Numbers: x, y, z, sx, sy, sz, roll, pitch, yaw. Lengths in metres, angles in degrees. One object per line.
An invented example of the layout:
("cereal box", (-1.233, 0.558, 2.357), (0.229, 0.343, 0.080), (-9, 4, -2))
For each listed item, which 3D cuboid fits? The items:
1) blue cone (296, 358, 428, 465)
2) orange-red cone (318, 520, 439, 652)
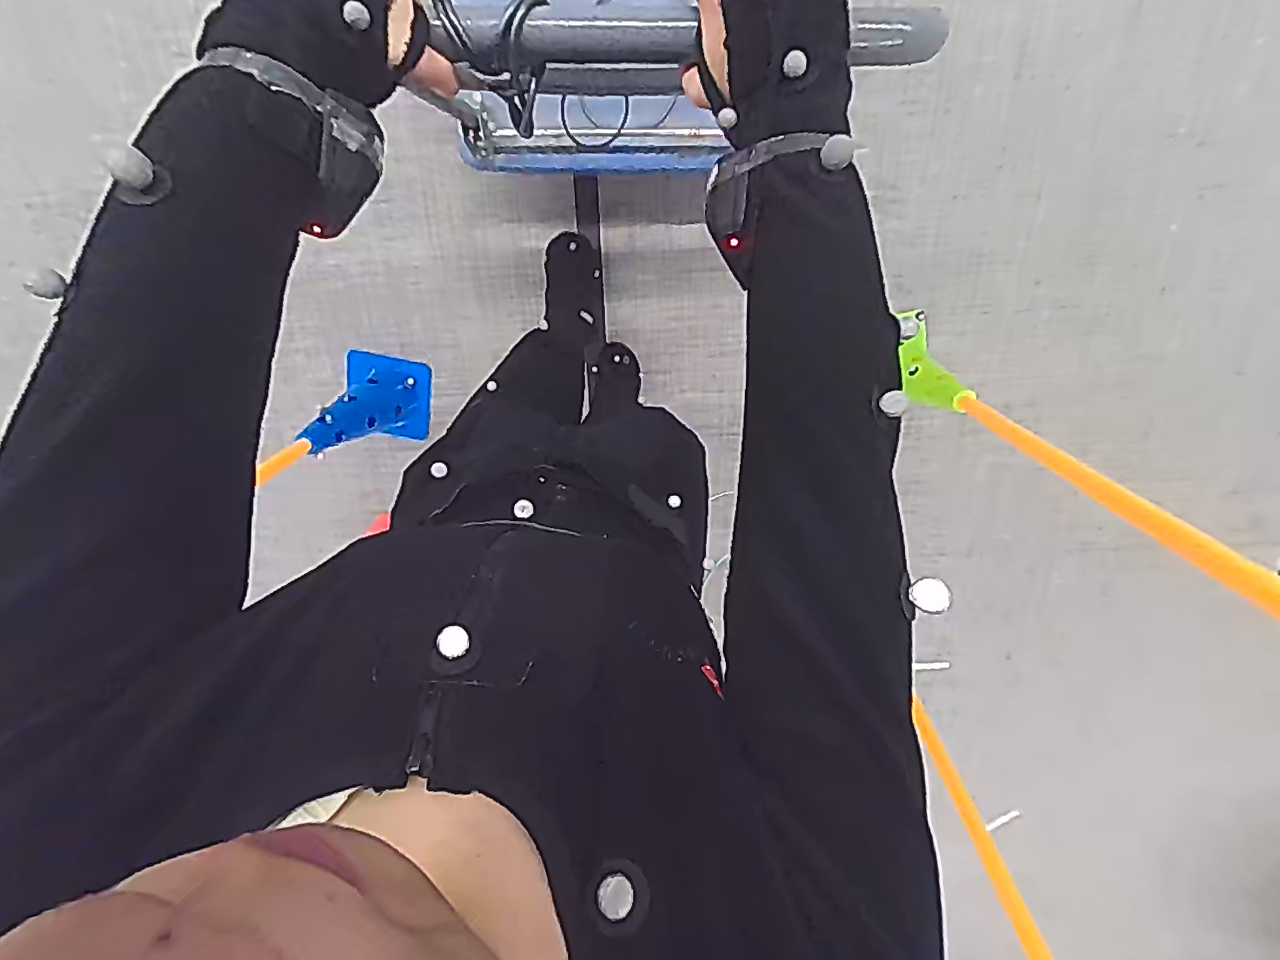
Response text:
("blue cone", (-0.610, -0.126, 1.155), (0.193, 0.380, 0.192), (12, 113, -4))
("orange-red cone", (-0.671, 0.284, 1.313), (0.198, 0.360, 0.199), (41, 106, -16))
